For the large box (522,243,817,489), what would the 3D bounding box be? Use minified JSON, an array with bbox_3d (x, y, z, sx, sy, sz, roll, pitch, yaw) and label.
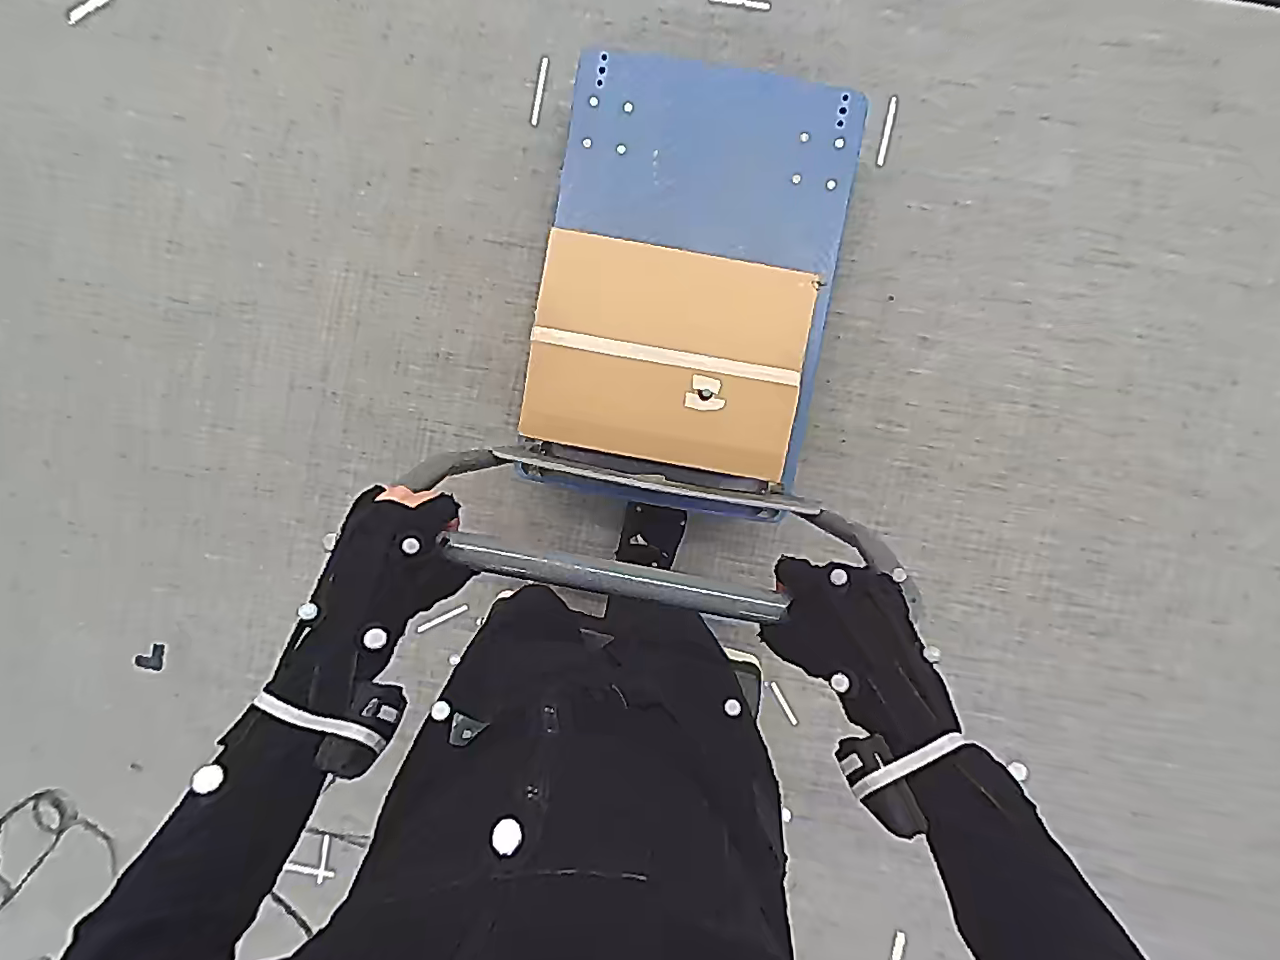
[{"bbox_3d":[0.040,-0.175,0.948,0.408,0.320,0.320,10,94,0],"label":"large box"}]
